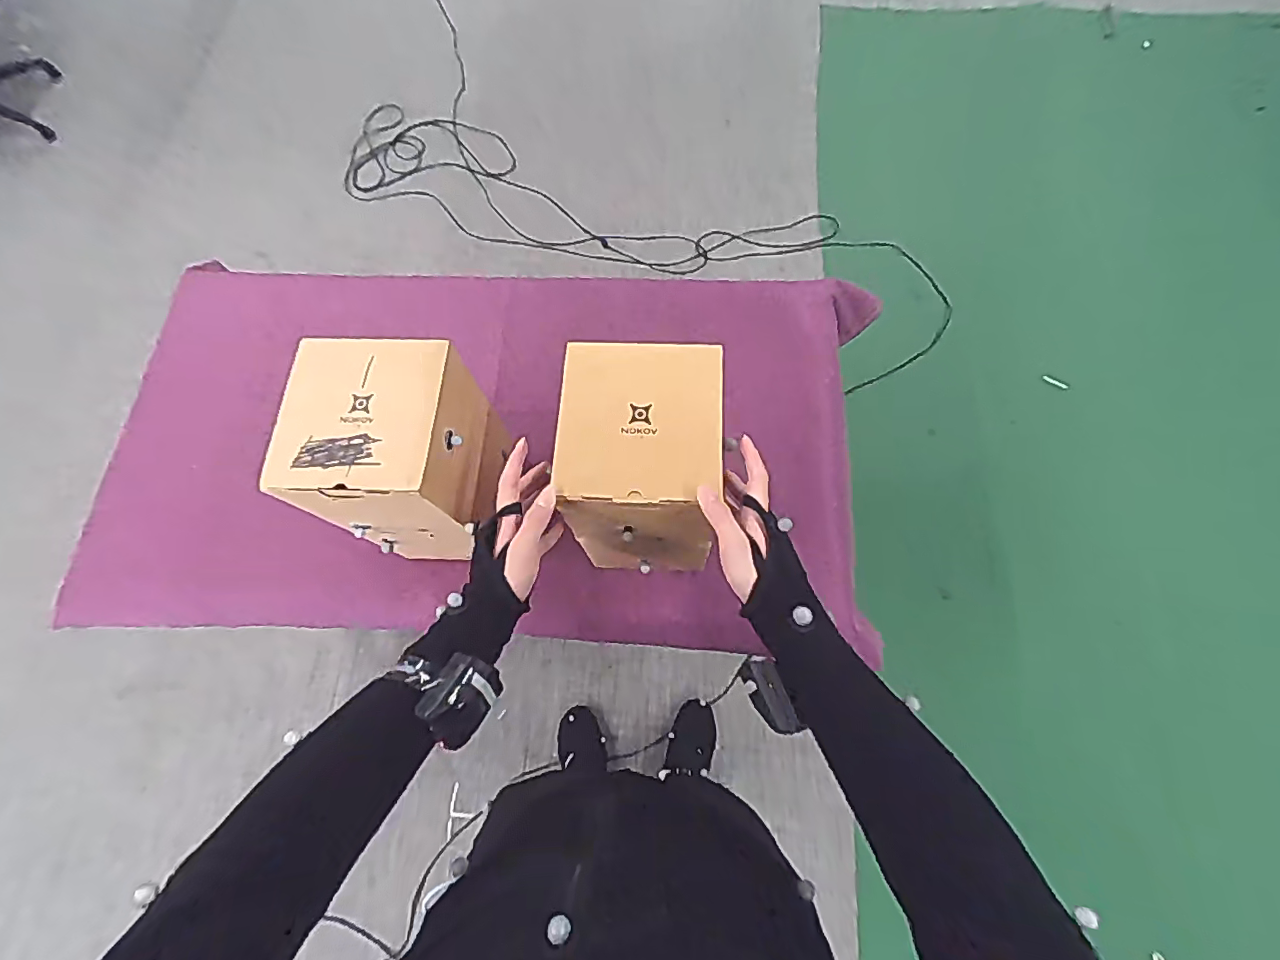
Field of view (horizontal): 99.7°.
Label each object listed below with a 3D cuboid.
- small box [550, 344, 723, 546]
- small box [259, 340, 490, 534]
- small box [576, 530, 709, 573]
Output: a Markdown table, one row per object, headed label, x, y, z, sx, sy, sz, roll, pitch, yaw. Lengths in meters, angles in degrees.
| label | x | y | z | sx | sy | sz | roll | pitch | yaw |
| --- | --- | --- | --- | --- | --- | --- | --- | --- | --- |
| small box | 0.002 | -0.032 | 0.615 | 0.168 | 0.176 | 0.179 | 2 | 71 | 3 |
| small box | -0.285 | -0.041 | 0.628 | 0.168 | 0.176 | 0.179 | 2 | 69 | 3 |
| small box | 0.010 | 0.027 | 0.767 | 0.168 | 0.176 | 0.179 | 2 | 70 | 4 |
